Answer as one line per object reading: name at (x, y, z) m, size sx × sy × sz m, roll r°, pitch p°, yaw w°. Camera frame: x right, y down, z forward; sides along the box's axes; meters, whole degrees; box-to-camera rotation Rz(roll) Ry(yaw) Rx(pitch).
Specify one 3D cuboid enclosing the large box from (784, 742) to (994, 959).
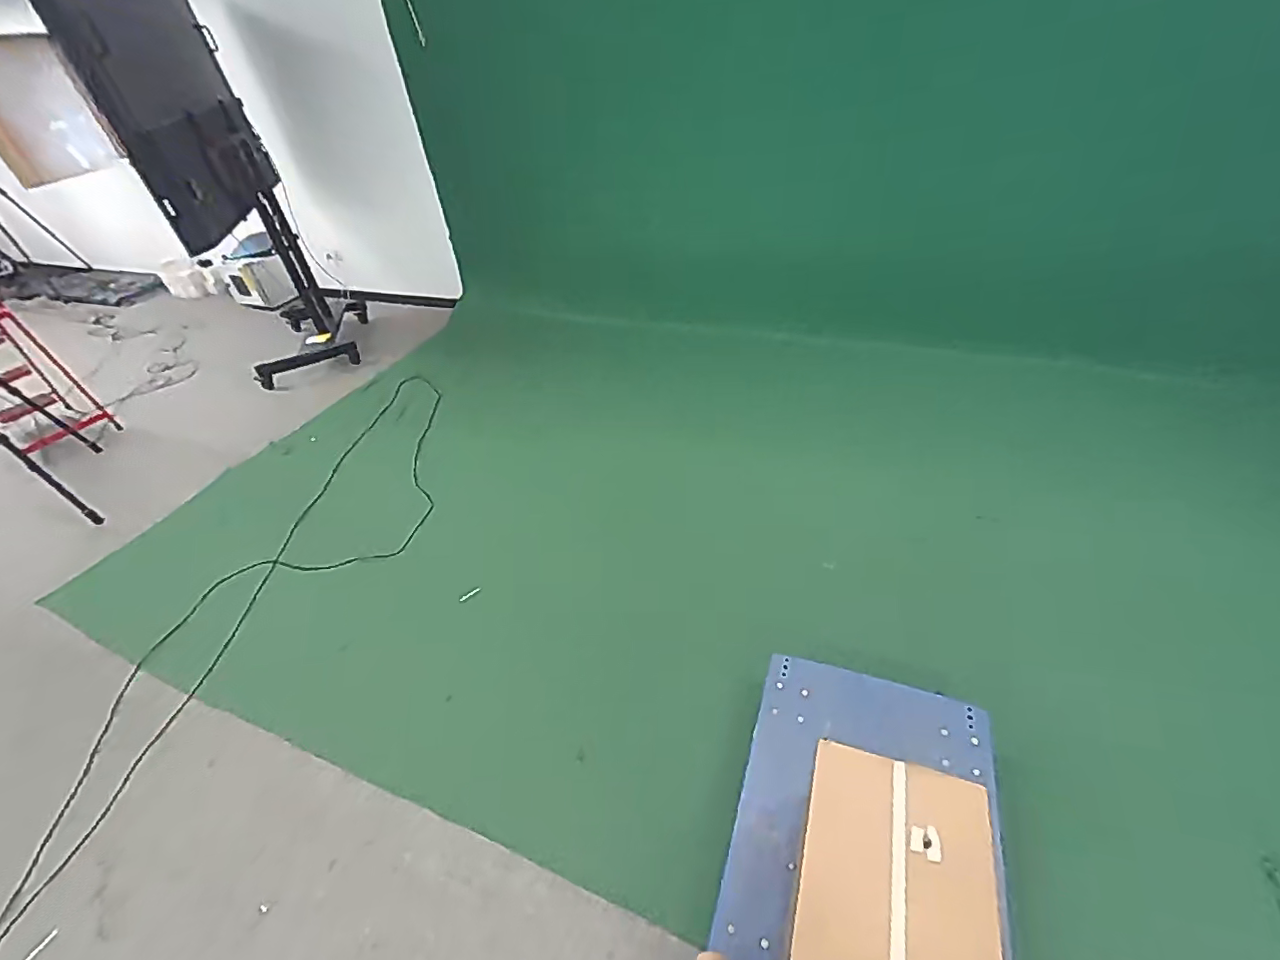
large box at (0.460, 0.815, 1.051) m, size 0.320 × 0.320 × 0.408 m, roll 9°, pitch 42°, yaw 19°
